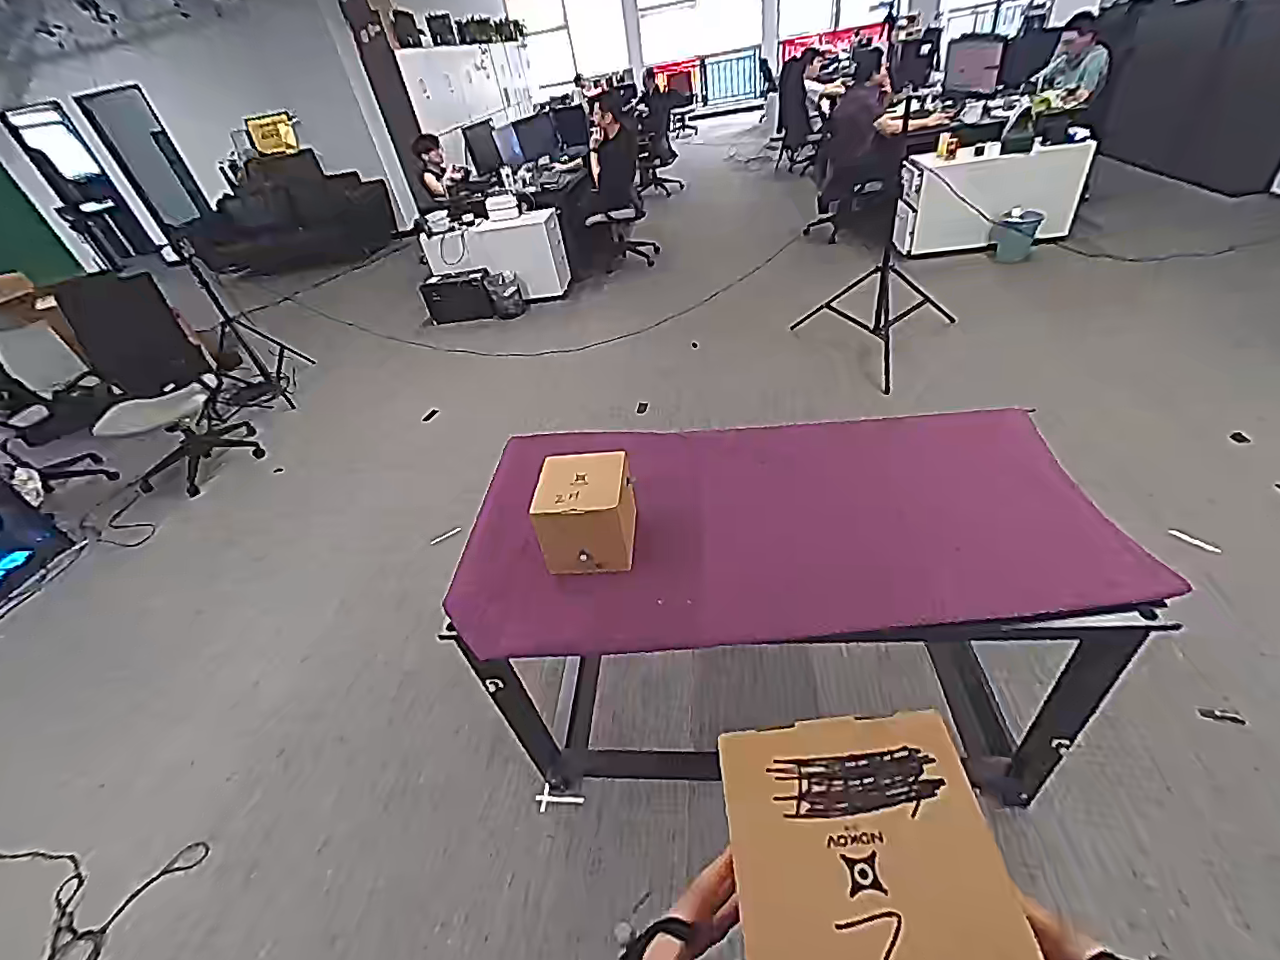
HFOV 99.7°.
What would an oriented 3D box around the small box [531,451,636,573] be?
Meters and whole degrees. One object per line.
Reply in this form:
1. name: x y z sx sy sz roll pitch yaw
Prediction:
1. small box: -0.102 0.063 1.073 0.168 0.176 0.179 -4 39 7
